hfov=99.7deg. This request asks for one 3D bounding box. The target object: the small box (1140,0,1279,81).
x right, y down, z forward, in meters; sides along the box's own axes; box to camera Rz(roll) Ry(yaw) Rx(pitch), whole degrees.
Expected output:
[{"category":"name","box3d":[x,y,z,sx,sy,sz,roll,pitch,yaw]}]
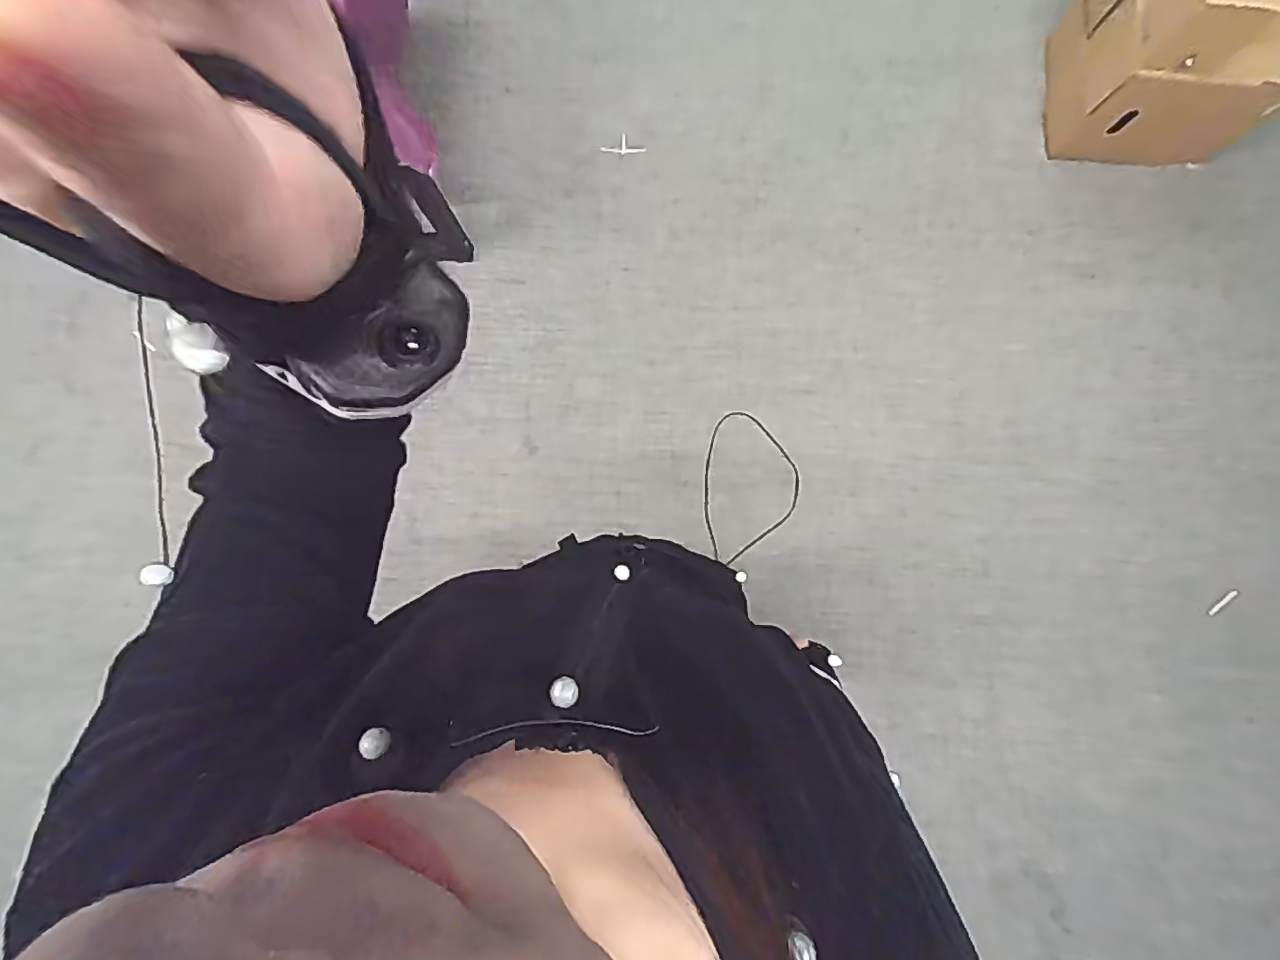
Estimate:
[{"category":"small box","box3d":[1.334,-1.080,1.263,0.179,0.176,0.168,9,83,1]}]
